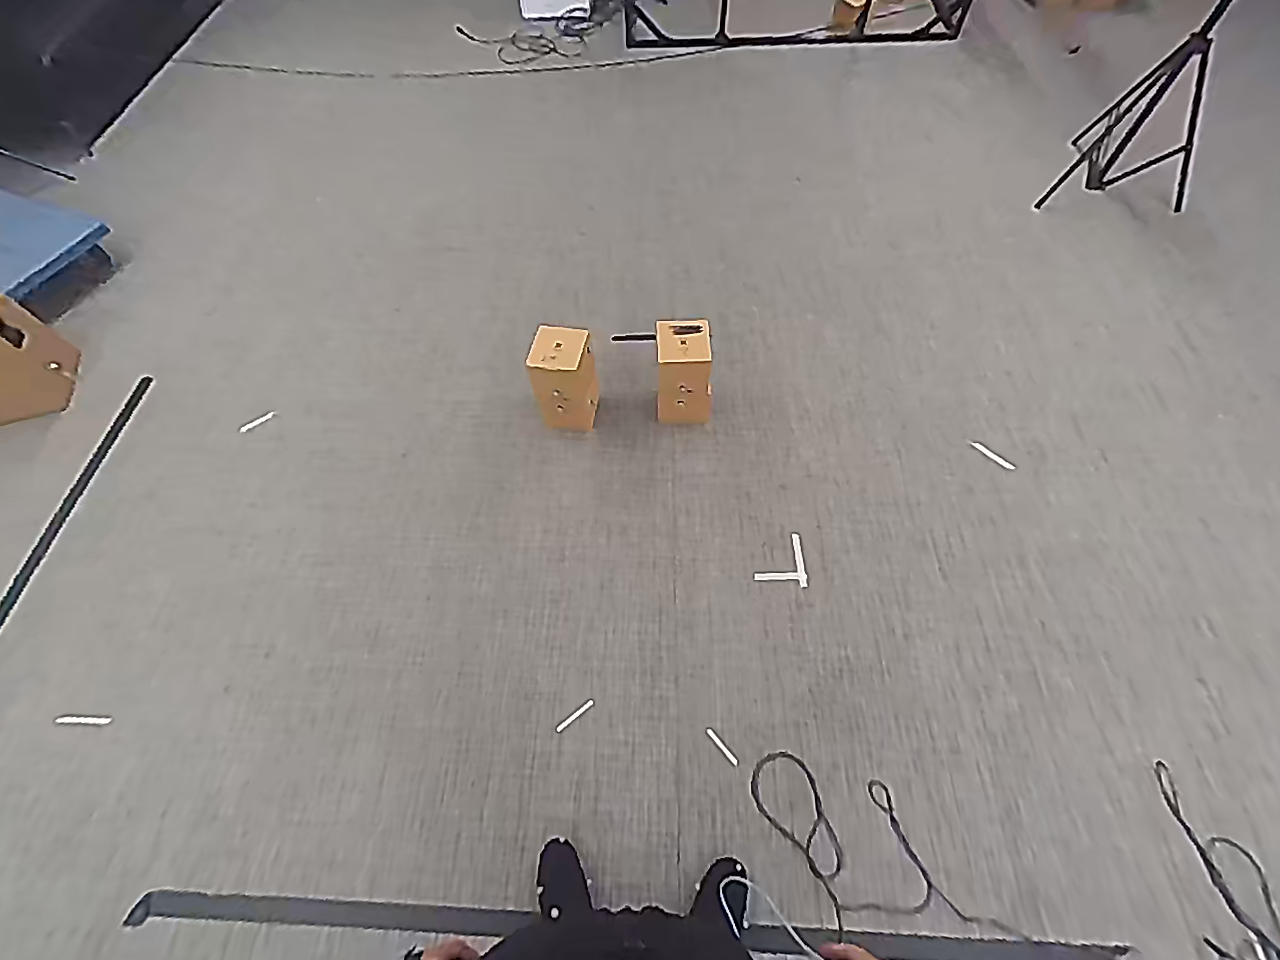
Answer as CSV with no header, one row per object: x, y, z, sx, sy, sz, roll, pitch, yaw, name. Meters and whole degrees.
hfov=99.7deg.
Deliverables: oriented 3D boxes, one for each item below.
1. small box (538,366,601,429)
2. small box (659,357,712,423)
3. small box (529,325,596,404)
-0.240,-0.296,1.907,0.179,0.176,0.168,7,61,7,small box
0.156,-0.313,1.901,0.179,0.176,0.168,0,61,1,small box
-0.245,-0.375,1.762,0.168,0.176,0.179,8,61,8,small box
